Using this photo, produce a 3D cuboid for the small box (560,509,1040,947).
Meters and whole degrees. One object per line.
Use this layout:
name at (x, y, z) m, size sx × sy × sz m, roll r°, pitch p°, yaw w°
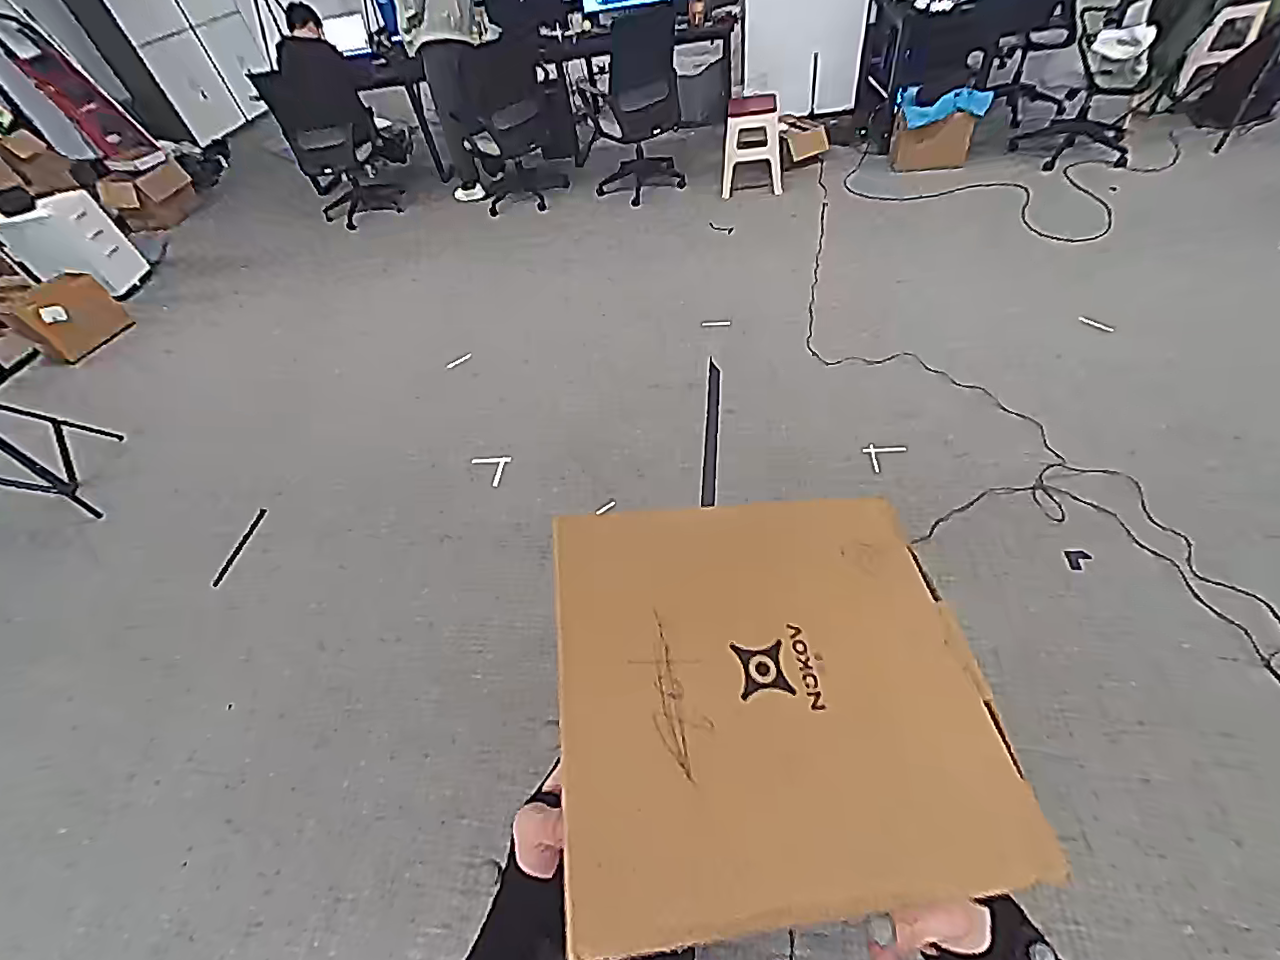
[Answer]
small box at (0.049, 0.134, 0.298) m, size 0.179 × 0.176 × 0.168 m, roll -4°, pitch 51°, yaw -6°
